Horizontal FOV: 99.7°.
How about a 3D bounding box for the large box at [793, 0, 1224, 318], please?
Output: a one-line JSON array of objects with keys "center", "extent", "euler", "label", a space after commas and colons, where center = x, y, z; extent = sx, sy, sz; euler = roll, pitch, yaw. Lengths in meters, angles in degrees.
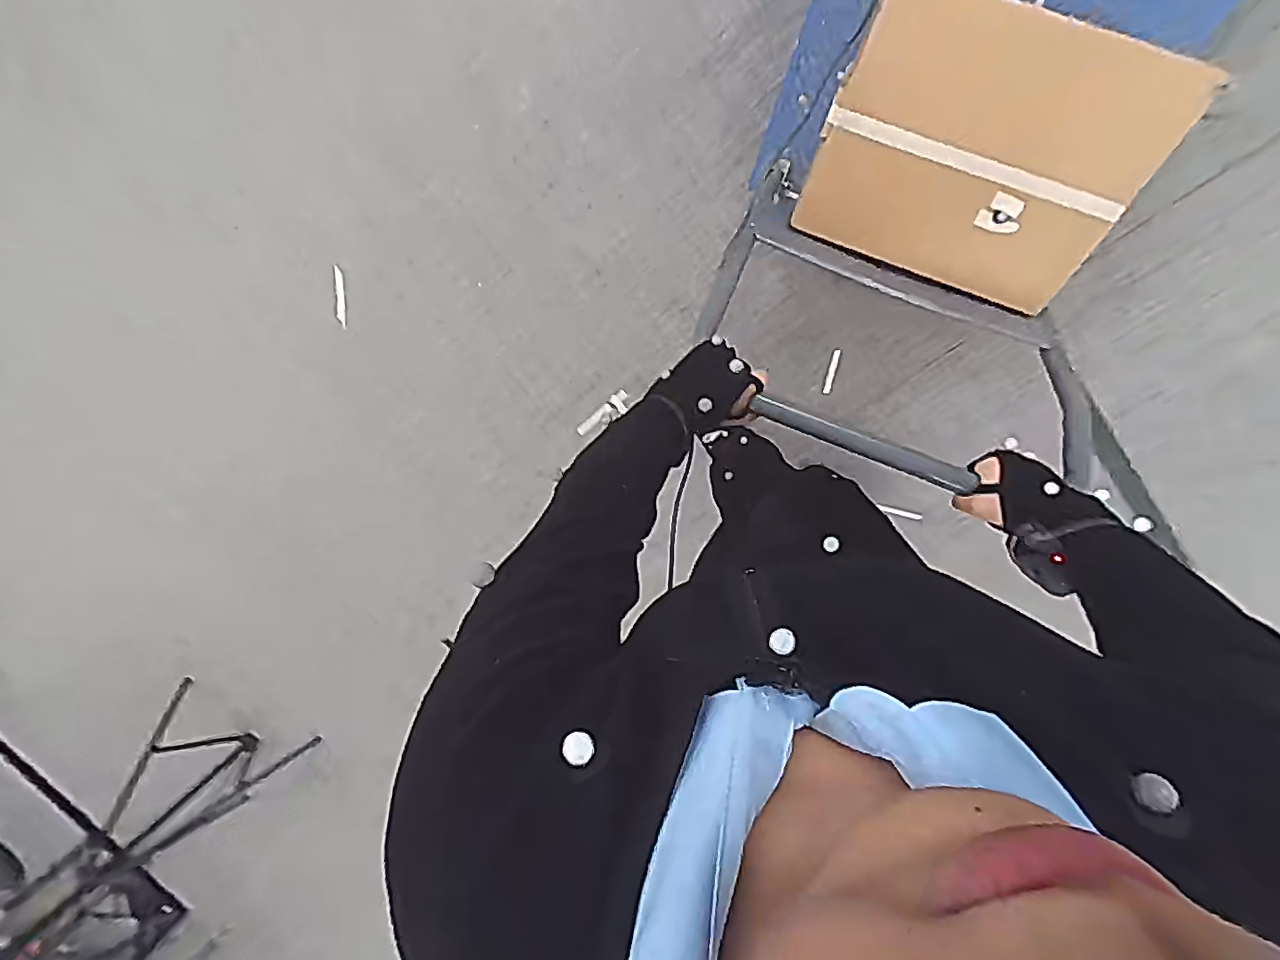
[{"center": [0.496, -0.515, 0.842], "extent": [0.408, 0.320, 0.320], "euler": [22, 135, 2], "label": "large box"}]
